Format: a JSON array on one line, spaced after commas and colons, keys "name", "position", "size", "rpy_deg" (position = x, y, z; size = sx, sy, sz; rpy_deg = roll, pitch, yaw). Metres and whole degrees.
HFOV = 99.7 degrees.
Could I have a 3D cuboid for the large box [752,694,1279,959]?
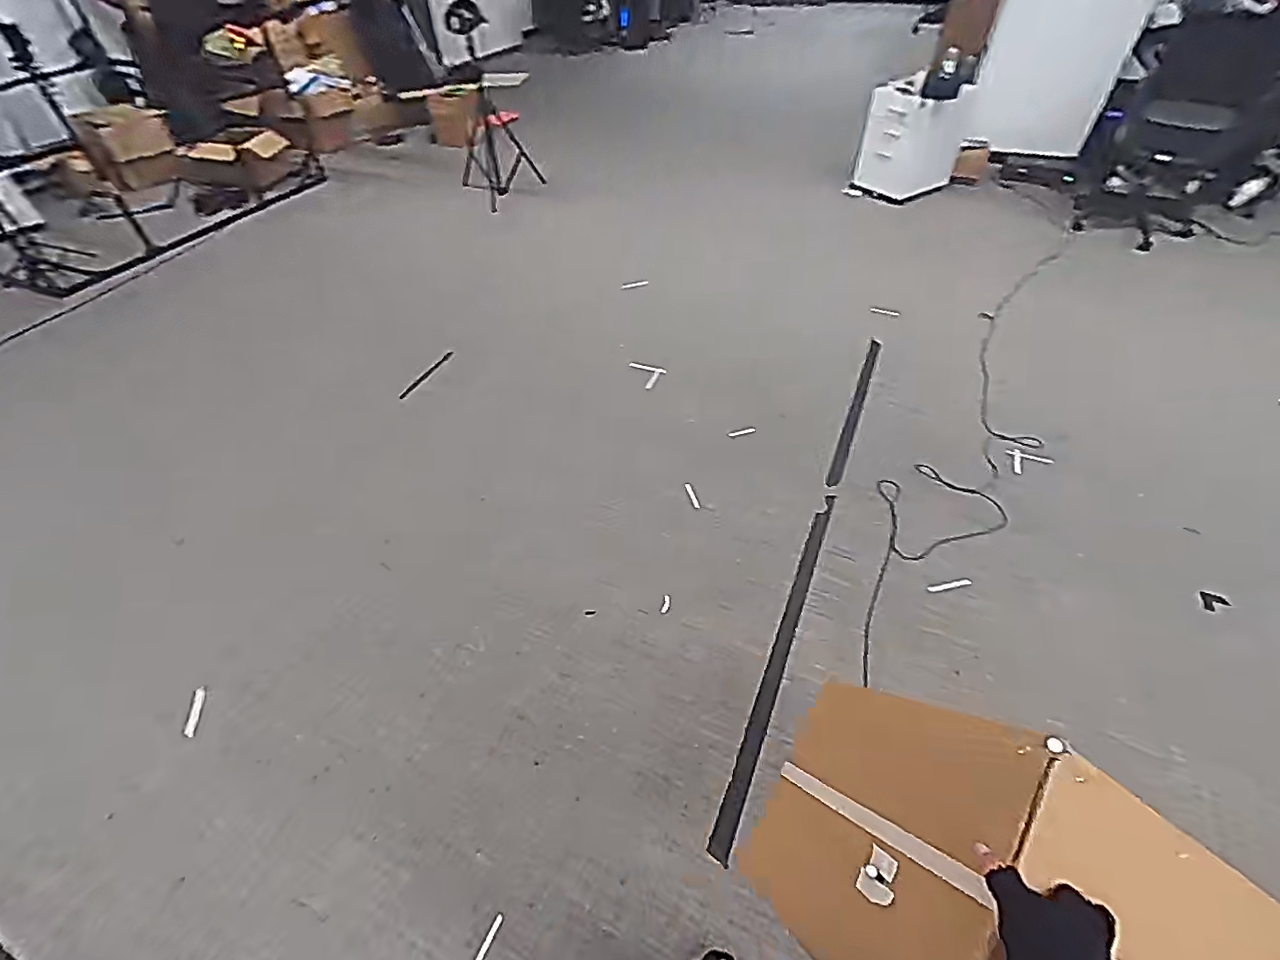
[{"name": "large box", "position": [0.411, 0.514, 0.666], "size": [0.320, 0.408, 0.320], "rpy_deg": [36, 73, -3]}]
